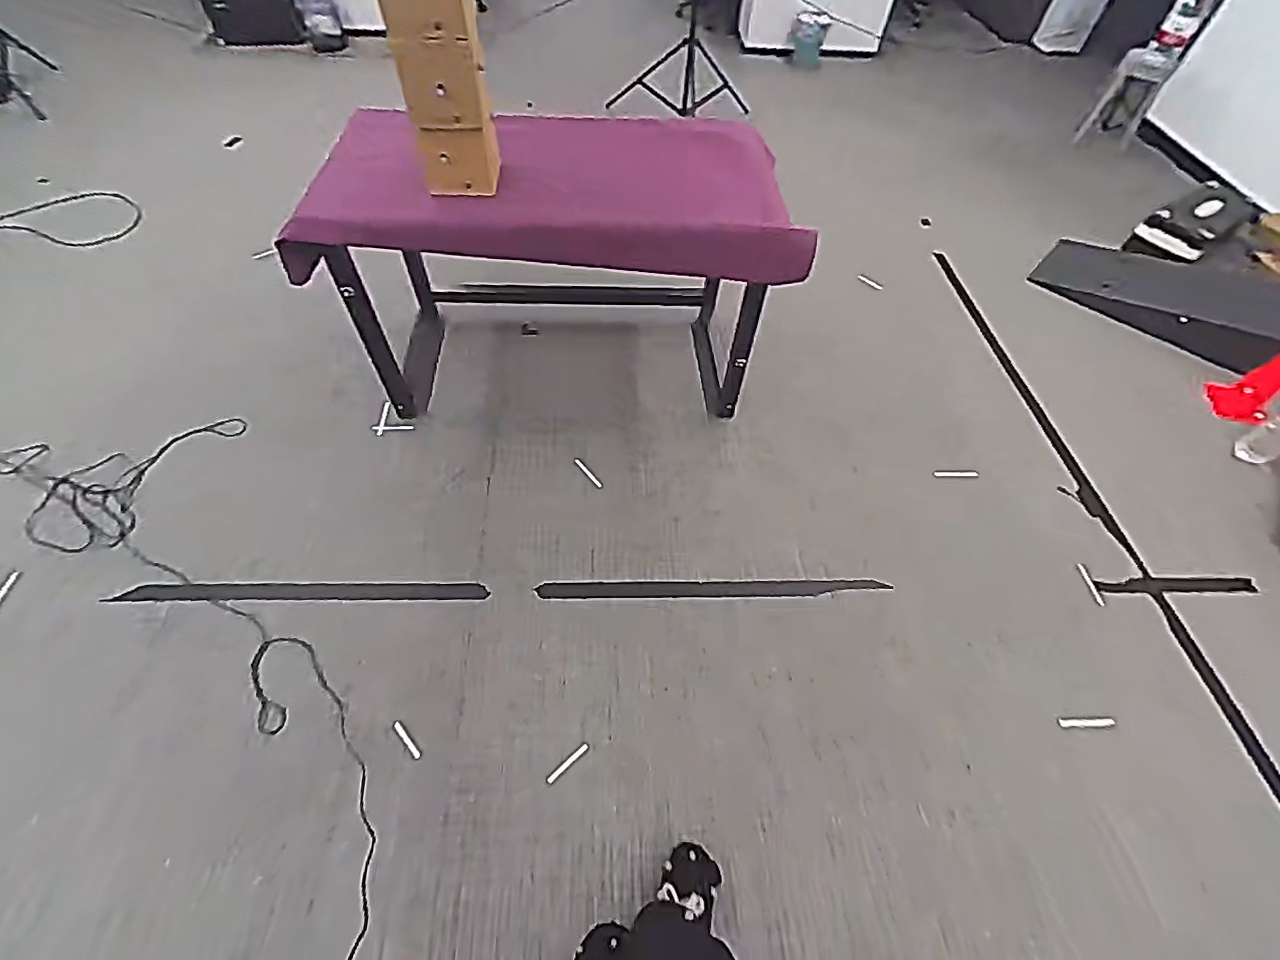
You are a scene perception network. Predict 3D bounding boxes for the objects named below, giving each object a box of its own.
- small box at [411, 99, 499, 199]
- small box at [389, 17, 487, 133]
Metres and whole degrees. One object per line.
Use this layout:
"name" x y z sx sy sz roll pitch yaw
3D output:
"small box" -0.457 -0.832 1.363 0.168 0.176 0.179 -1 55 -4
"small box" -0.444 -0.908 1.217 0.168 0.176 0.179 -5 56 -7
